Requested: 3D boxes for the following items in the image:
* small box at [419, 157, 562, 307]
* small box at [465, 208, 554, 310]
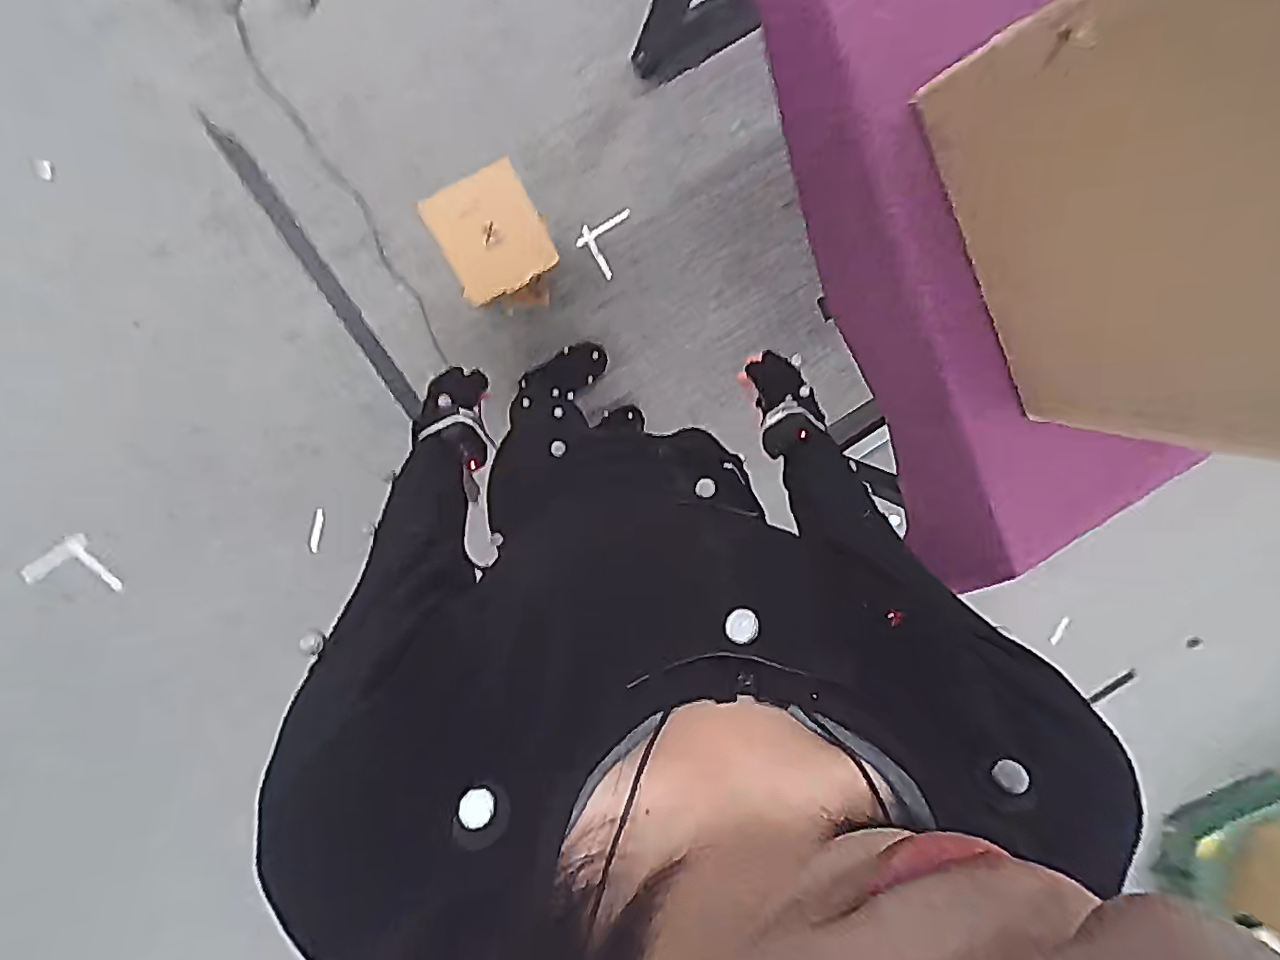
[{"bbox_3d":[-0.251,-0.418,0.943,0.168,0.176,0.179,-30,108,-4],"label":"small box"},{"bbox_3d":[-0.265,-0.450,1.104,0.168,0.176,0.179,1,104,-12],"label":"small box"}]
